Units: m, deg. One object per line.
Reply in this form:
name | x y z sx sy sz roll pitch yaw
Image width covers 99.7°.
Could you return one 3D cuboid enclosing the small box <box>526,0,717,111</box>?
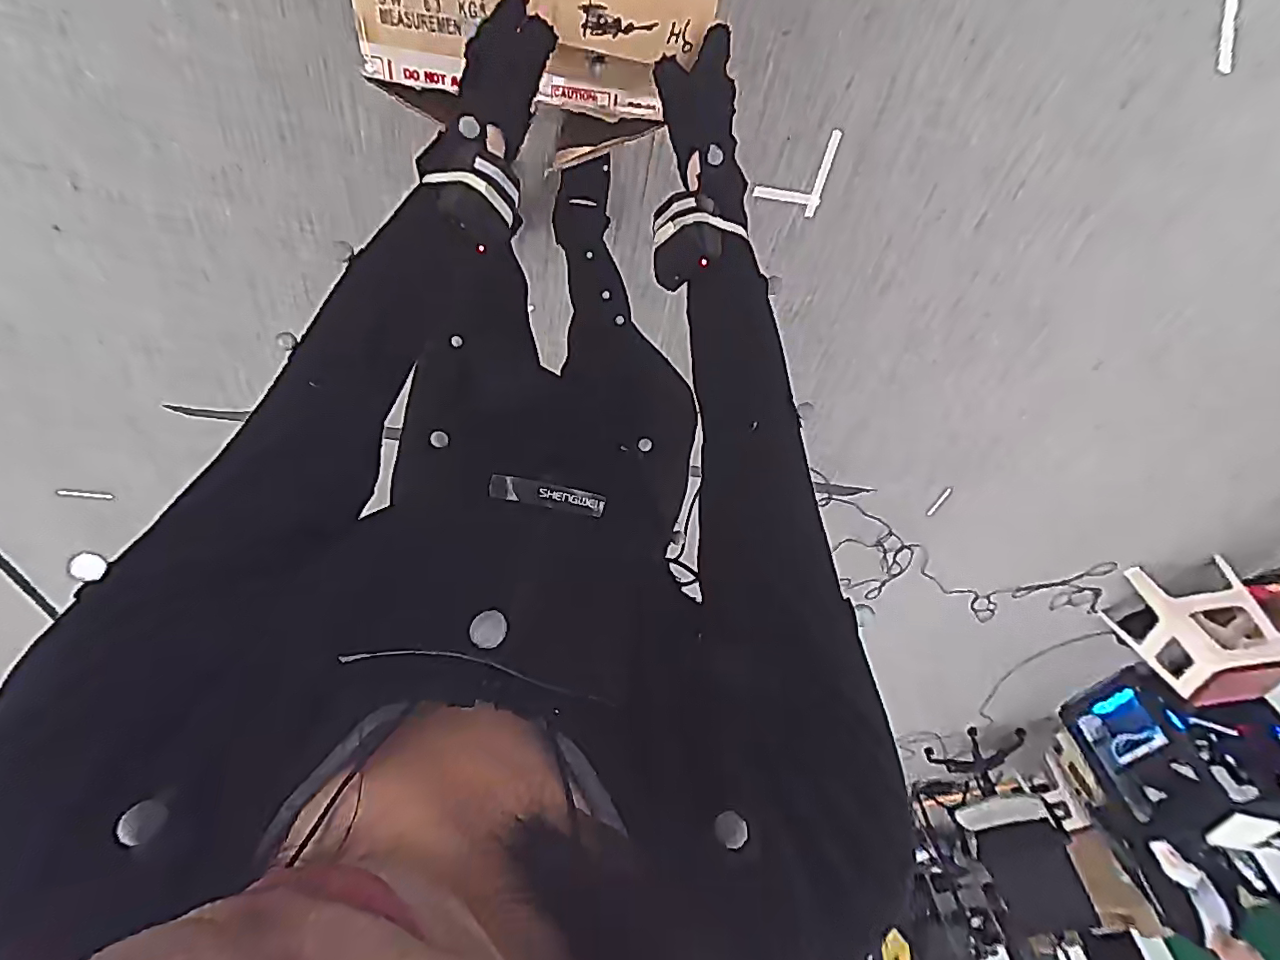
small box | -0.021 -0.489 0.524 0.168 0.176 0.179 4 115 -13
